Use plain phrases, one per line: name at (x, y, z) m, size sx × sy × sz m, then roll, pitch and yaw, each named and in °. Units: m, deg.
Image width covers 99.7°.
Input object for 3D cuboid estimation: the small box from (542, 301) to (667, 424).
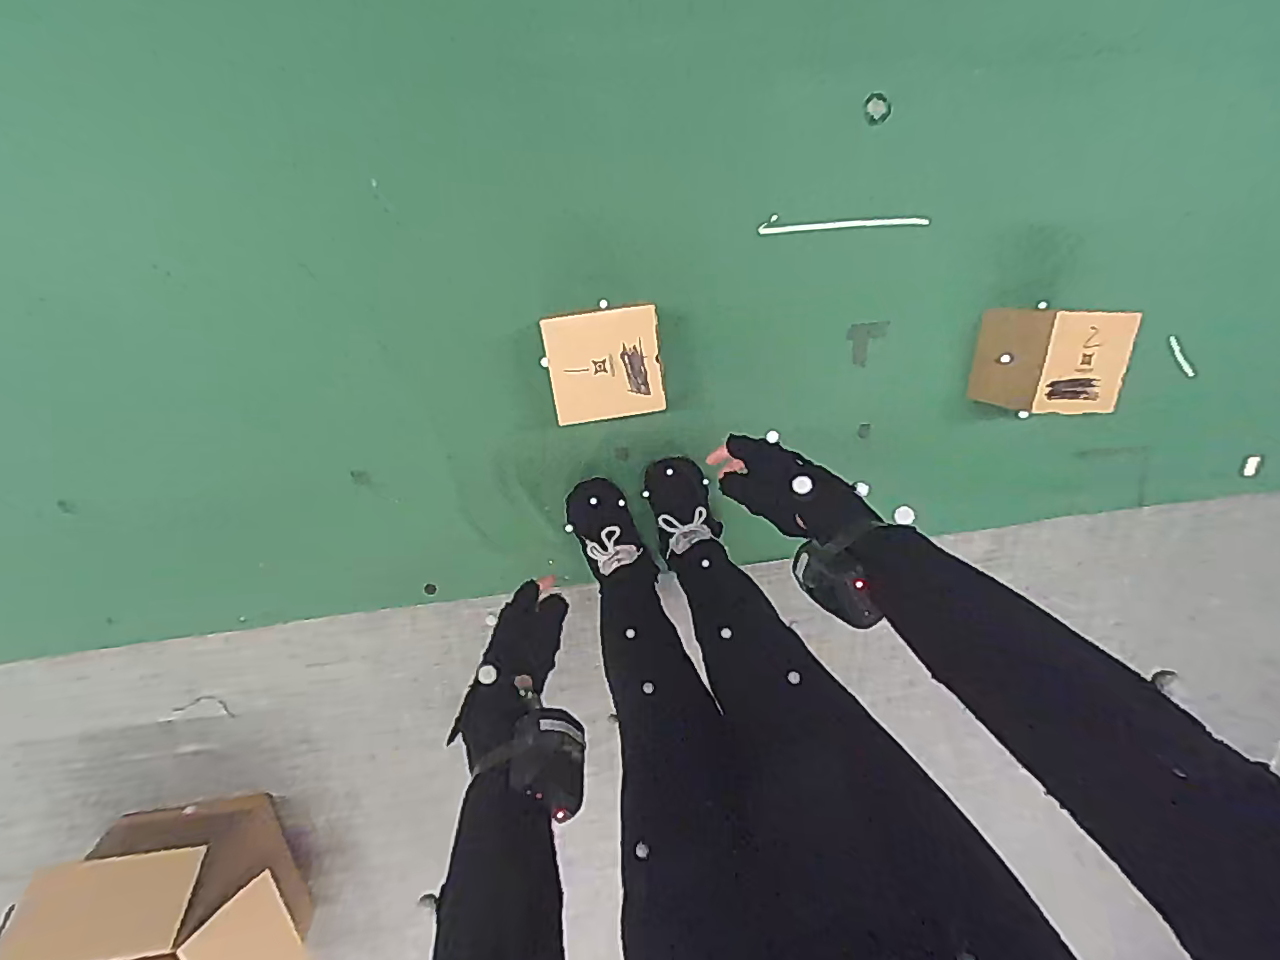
small box at (-0.061, -0.202, 0.900) m, size 0.179 × 0.176 × 0.168 m, roll -9°, pitch 110°, yaw -3°
